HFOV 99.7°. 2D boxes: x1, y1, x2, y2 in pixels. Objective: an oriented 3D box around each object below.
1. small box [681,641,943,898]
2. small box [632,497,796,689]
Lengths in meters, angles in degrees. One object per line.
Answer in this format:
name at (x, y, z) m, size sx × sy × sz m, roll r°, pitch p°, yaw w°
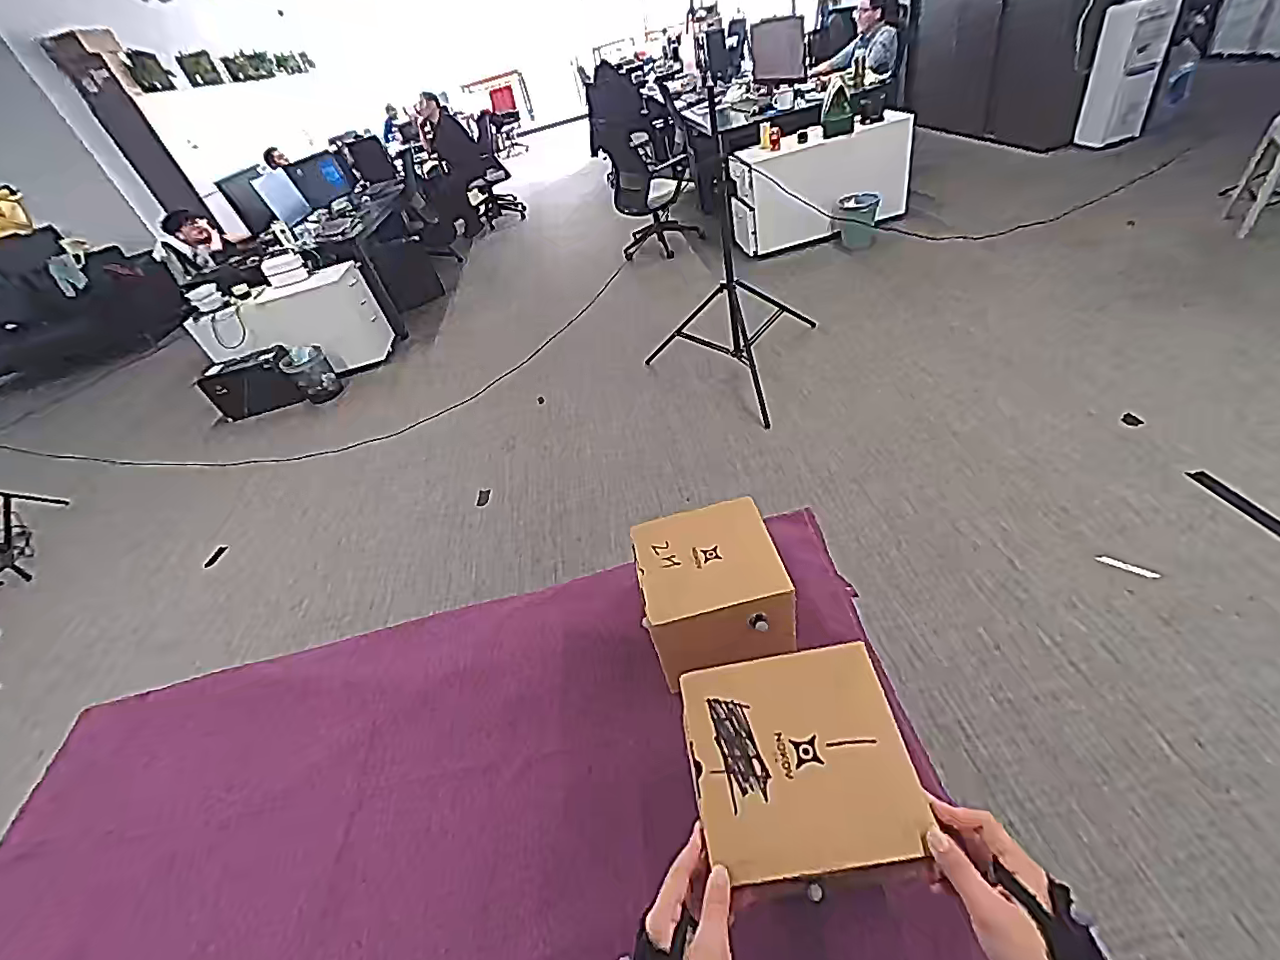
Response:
small box at (0.146, 0.276, 0.508) m, size 0.179 × 0.176 × 0.168 m, roll -12°, pitch 48°, yaw 5°
small box at (0.098, 0.154, 0.730) m, size 0.179 × 0.176 × 0.168 m, roll -15°, pitch 40°, yaw 2°
